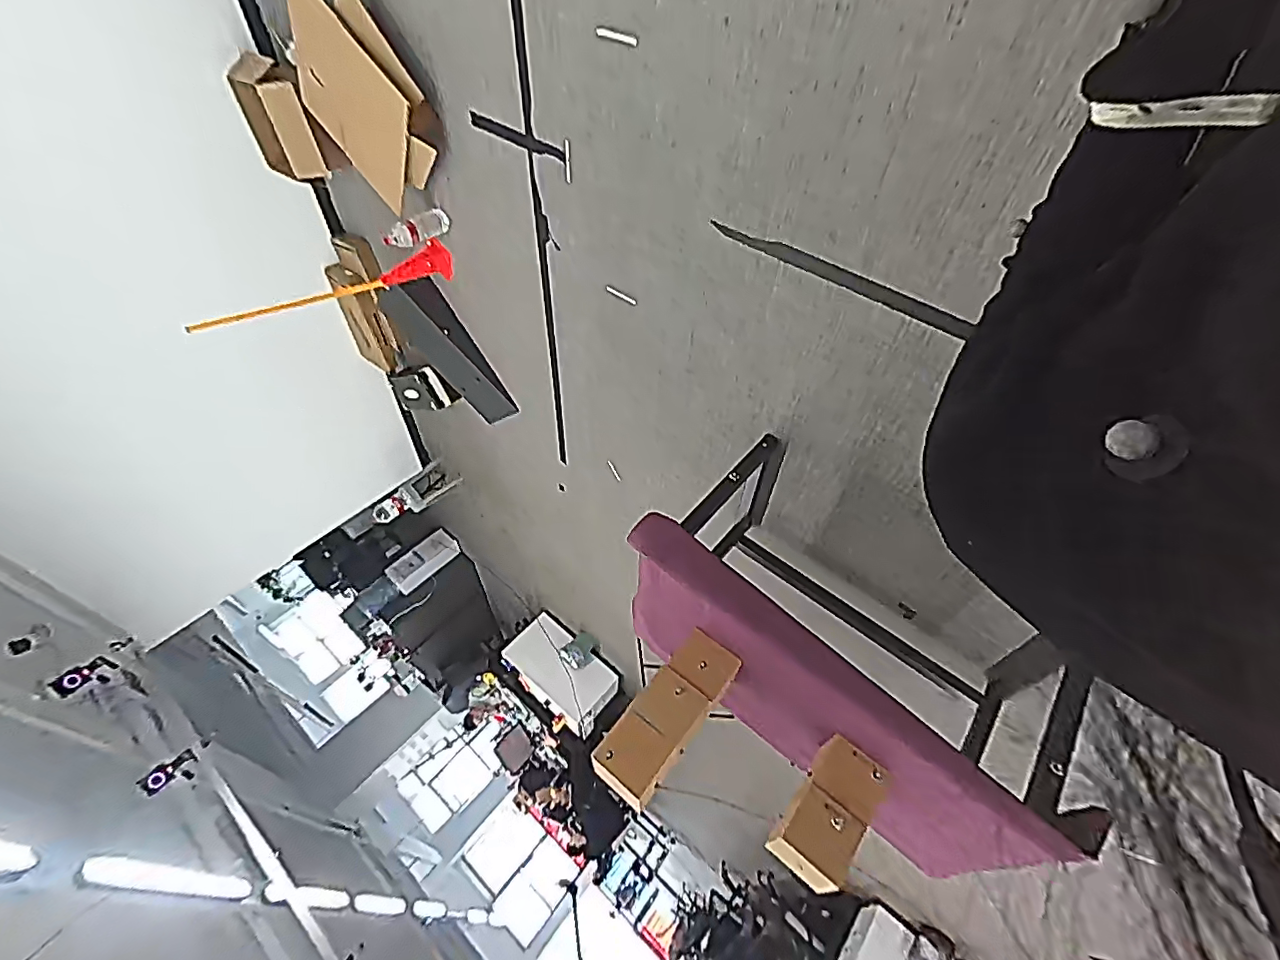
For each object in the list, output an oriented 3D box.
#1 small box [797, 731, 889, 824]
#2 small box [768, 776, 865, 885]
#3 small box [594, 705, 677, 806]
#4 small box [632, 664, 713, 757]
[{"bbox_3d":[0.573,0.839,1.520,0.168,0.176,0.179,34,148,22],"label":"small box"},{"bbox_3d":[0.467,0.924,1.430,0.168,0.176,0.179,33,145,22],"label":"small box"},{"bbox_3d":[-0.008,0.780,1.541,0.179,0.176,0.168,31,146,25],"label":"small box"},{"bbox_3d":[0.095,0.679,1.618,0.179,0.176,0.168,31,146,26],"label":"small box"}]
